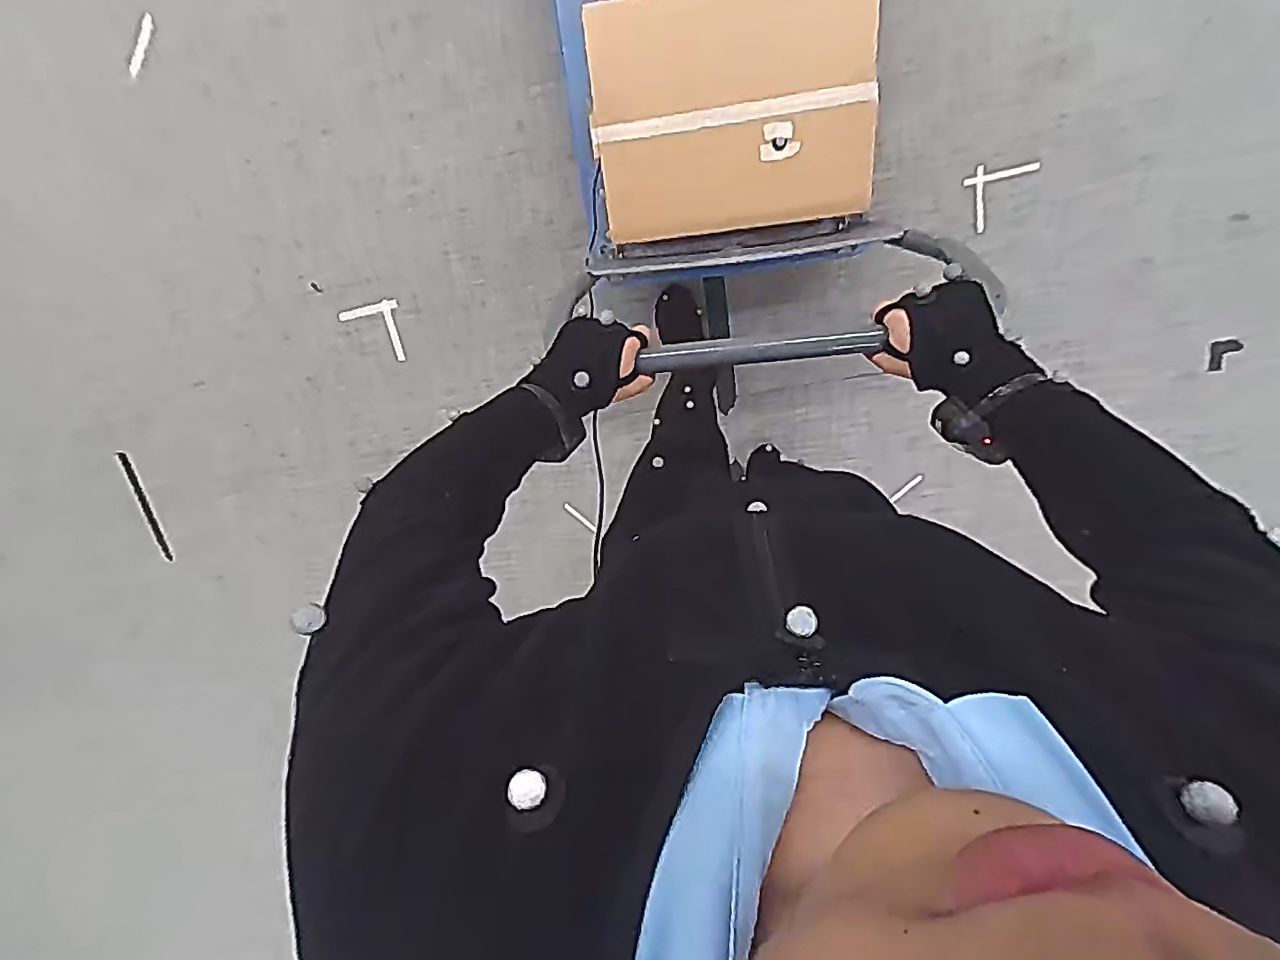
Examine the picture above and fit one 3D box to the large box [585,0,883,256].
[{"bbox_3d":[0.149,-0.578,0.916,0.408,0.320,0.320,-5,116,7],"label":"large box"}]
